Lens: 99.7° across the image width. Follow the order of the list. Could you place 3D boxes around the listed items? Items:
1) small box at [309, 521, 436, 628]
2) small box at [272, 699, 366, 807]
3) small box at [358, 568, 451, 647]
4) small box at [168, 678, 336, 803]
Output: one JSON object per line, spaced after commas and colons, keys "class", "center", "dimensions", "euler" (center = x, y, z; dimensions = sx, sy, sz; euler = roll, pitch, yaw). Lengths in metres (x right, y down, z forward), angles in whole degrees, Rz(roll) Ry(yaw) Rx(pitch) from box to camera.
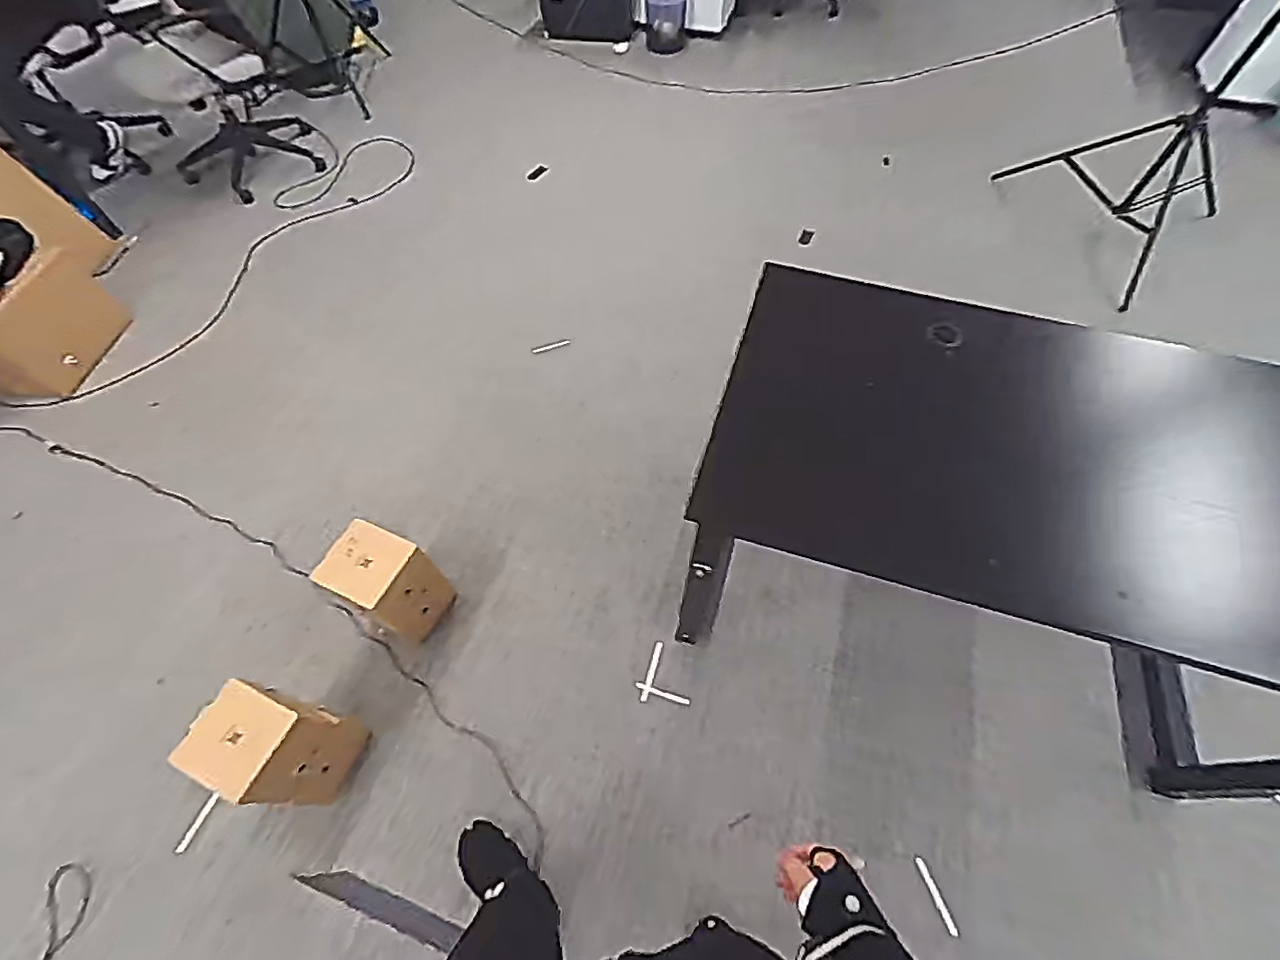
{"class": "small box", "center": [-0.613, 0.229, 1.266], "dimensions": [0.179, 0.176, 0.168], "euler": [21, 60, 13]}
{"class": "small box", "center": [-0.764, 0.617, 1.227], "dimensions": [0.168, 0.176, 0.179], "euler": [17, 61, 10]}
{"class": "small box", "center": [-0.620, 0.308, 1.411], "dimensions": [0.168, 0.176, 0.179], "euler": [23, 62, 14]}
{"class": "small box", "center": [-0.766, 0.528, 1.089], "dimensions": [0.179, 0.176, 0.168], "euler": [21, 62, 11]}
